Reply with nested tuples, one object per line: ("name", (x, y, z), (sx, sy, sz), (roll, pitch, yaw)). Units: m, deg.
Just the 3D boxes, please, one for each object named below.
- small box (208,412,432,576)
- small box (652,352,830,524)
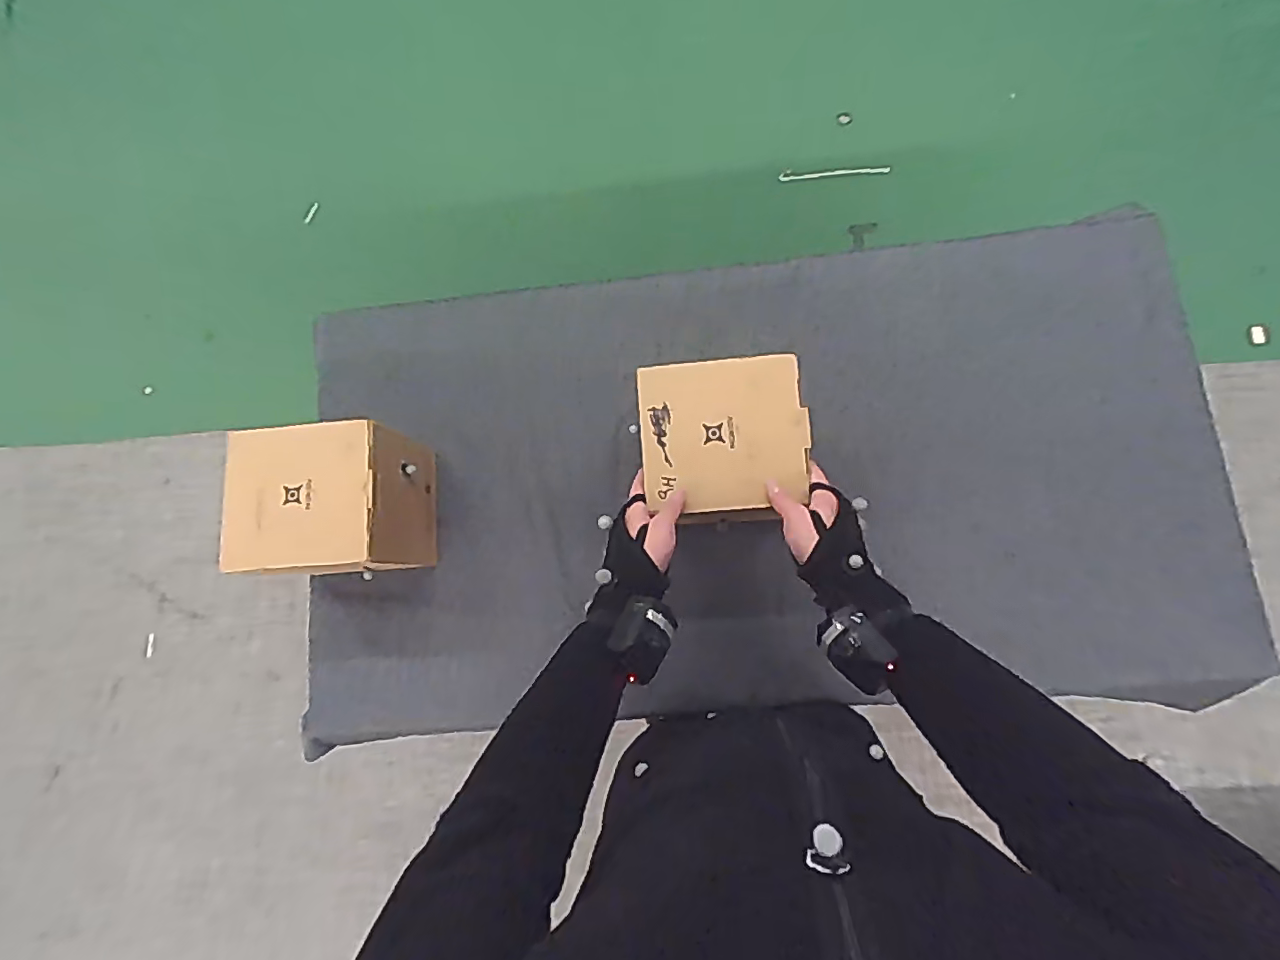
("small box", (-0.367, 0.027, 0.655), (0.179, 0.176, 0.168), (-6, 77, 2))
("small box", (0.106, -0.039, 0.642), (0.179, 0.176, 0.168), (-4, 80, 1))
